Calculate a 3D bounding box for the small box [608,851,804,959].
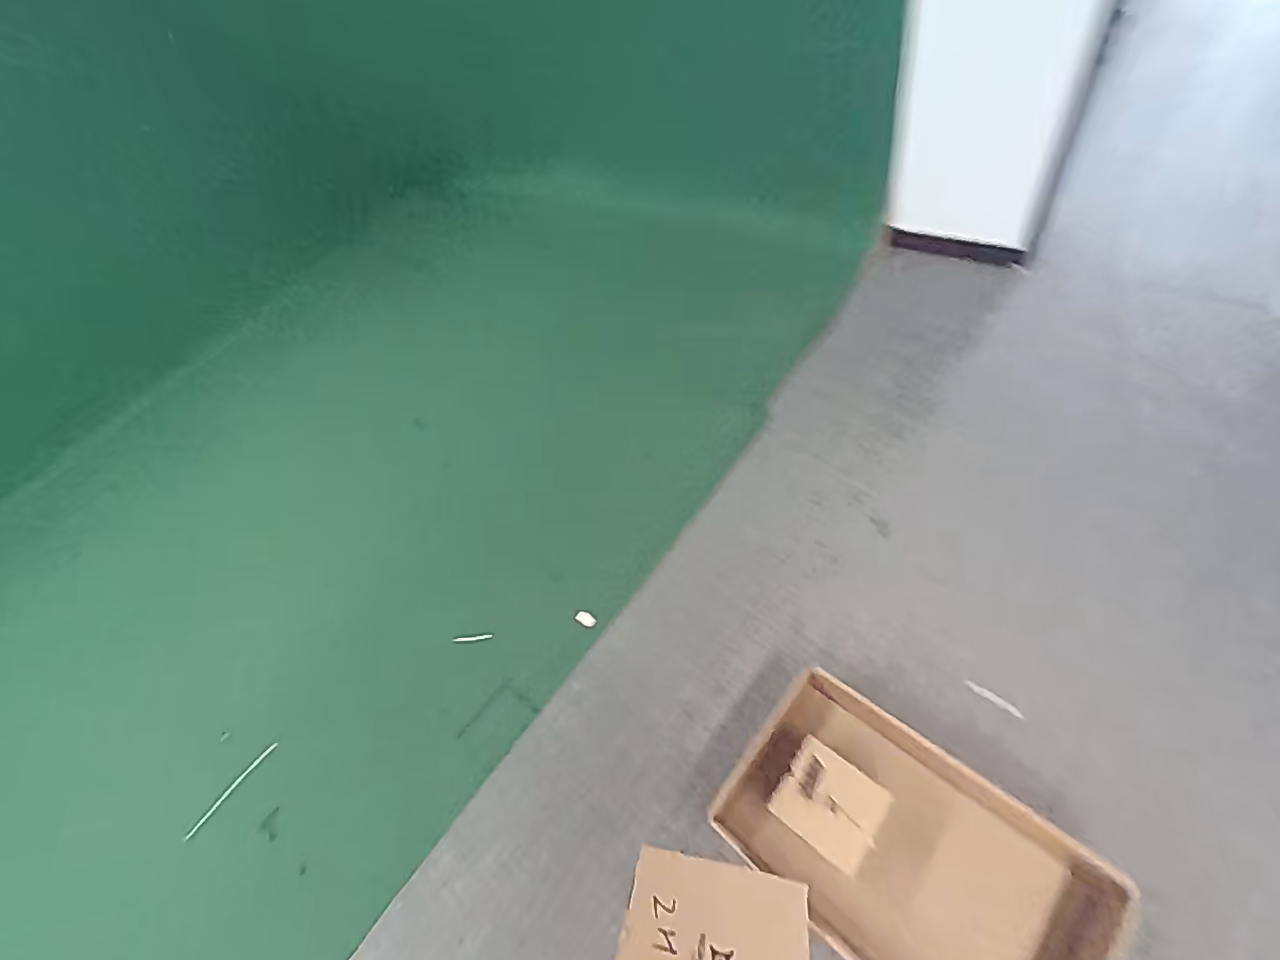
[{"bbox_3d":[0.062,0.511,0.525,0.179,0.176,0.168,4,28,14],"label":"small box"}]
